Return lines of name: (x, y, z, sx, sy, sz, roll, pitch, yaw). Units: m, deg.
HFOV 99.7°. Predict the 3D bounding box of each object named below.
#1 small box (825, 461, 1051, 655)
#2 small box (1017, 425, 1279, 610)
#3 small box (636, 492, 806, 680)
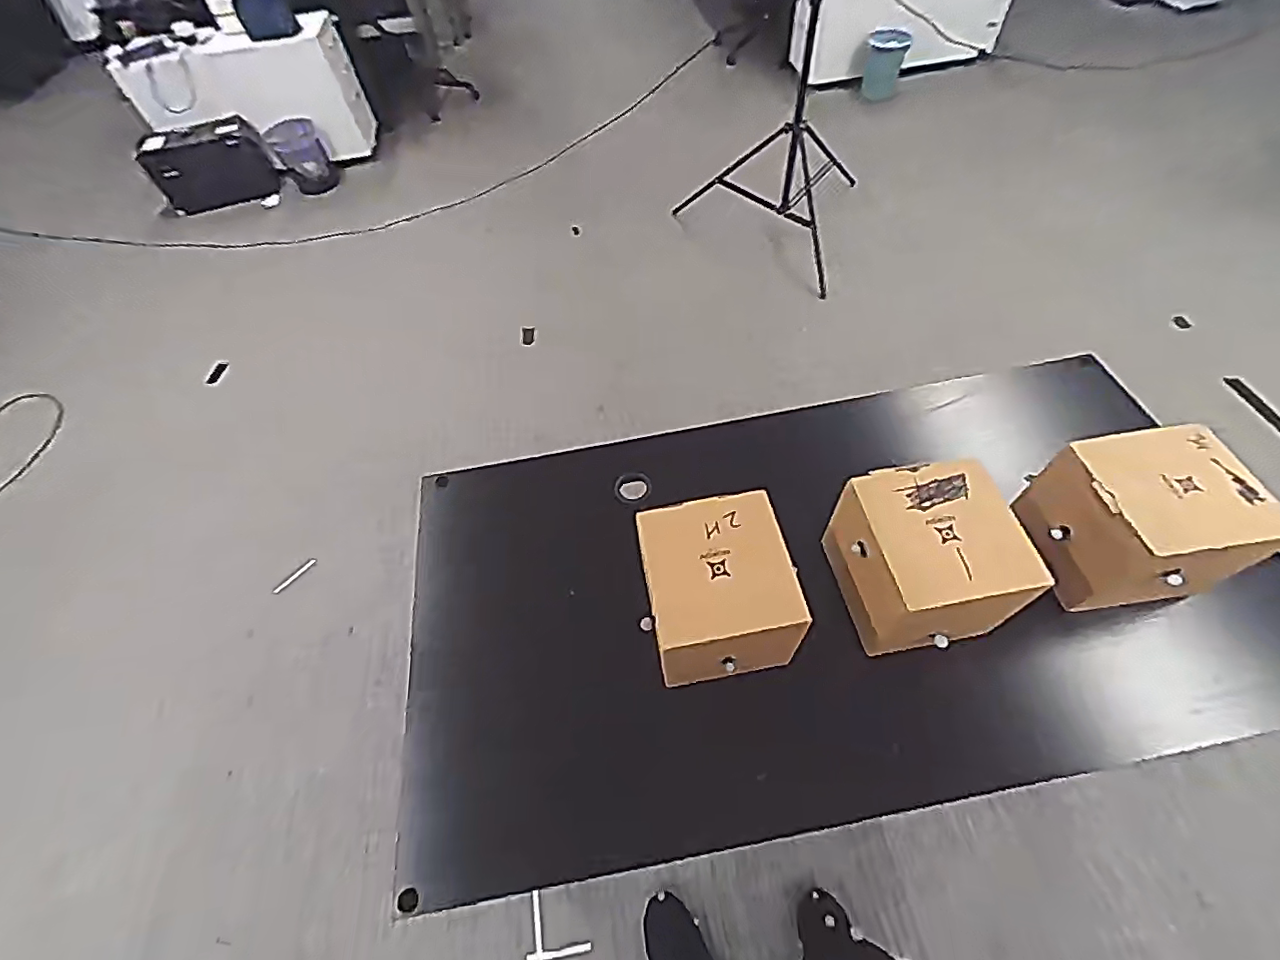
small box: (0.356, 0.103, 0.693, 0.168, 0.176, 0.179, -10, 56, -2)
small box: (0.633, 0.055, 0.700, 0.179, 0.176, 0.168, -9, 55, 1)
small box: (0.094, 0.143, 0.689, 0.168, 0.176, 0.179, -10, 56, -2)
